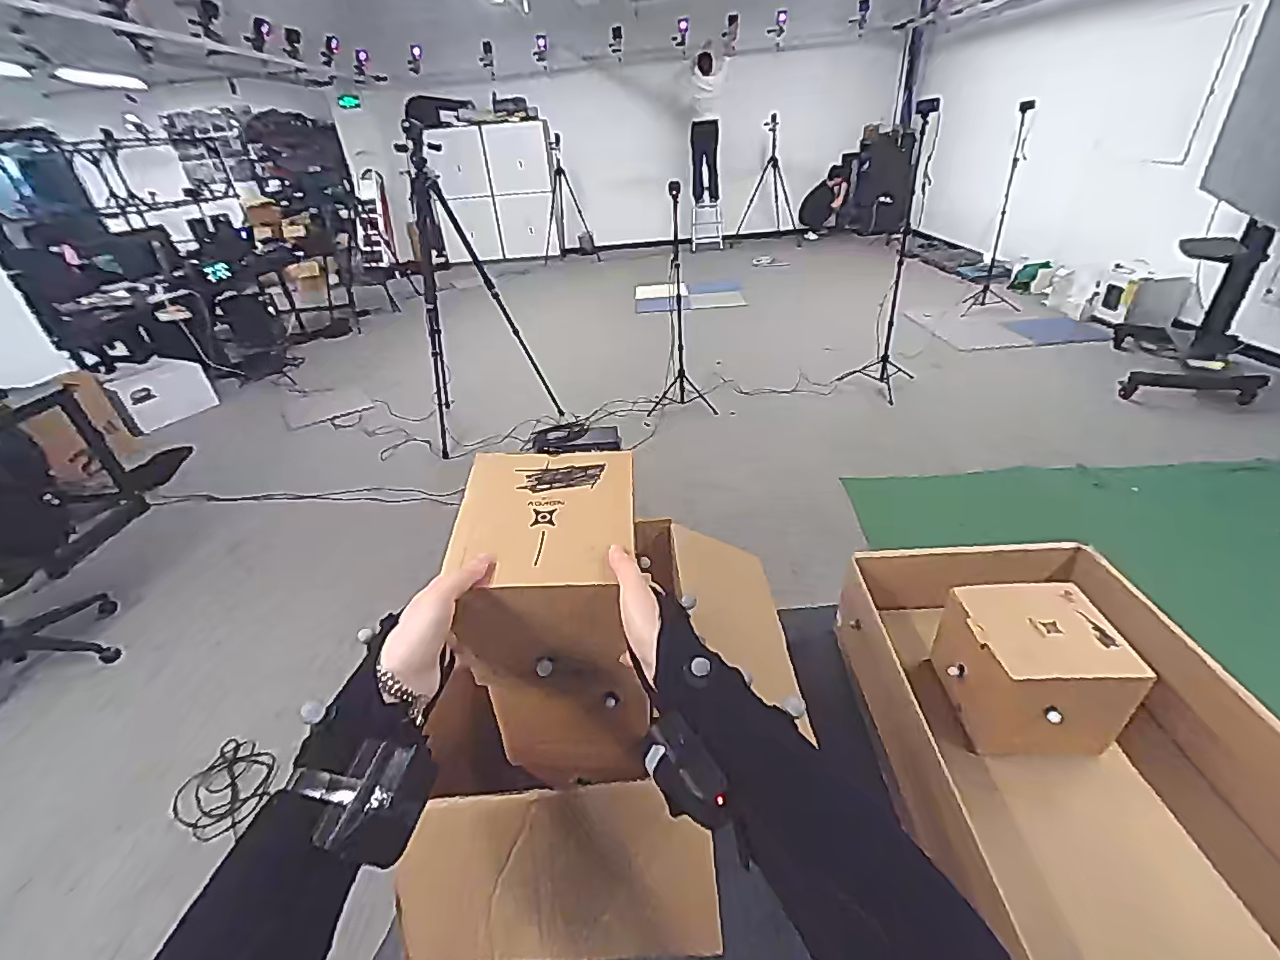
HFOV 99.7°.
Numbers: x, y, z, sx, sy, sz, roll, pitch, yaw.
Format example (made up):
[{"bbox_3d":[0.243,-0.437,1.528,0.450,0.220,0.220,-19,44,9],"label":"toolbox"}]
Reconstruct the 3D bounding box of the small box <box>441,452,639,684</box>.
[{"bbox_3d":[-0.086,0.089,0.560,0.168,0.176,0.179,-1,43,-1],"label":"small box"}]
